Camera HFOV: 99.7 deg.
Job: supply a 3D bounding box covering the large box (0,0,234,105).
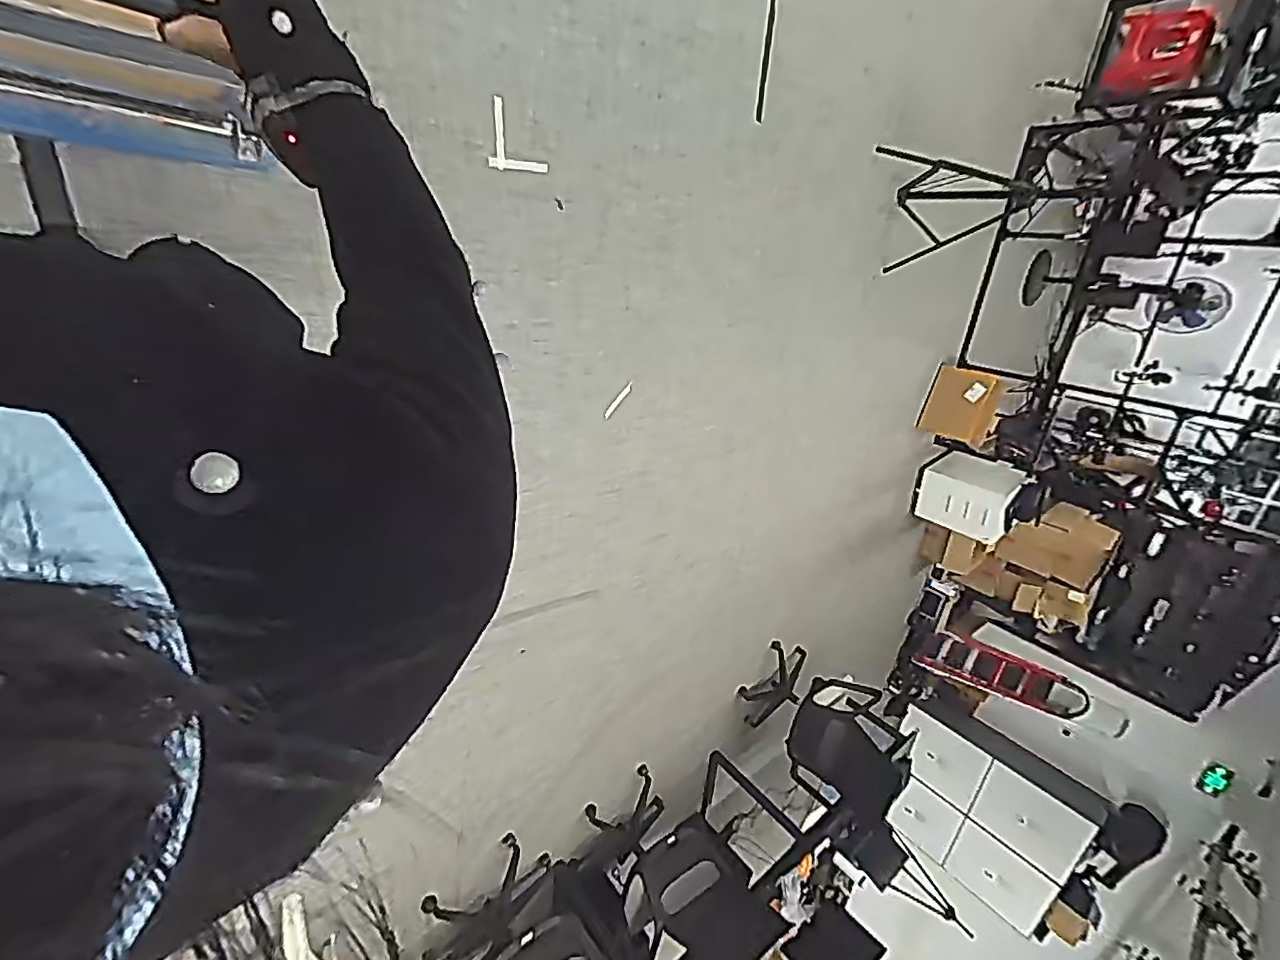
[{"bbox_3d":[-0.758,-0.685,0.623,0.408,0.320,0.320,-12,118,-40],"label":"large box"}]
